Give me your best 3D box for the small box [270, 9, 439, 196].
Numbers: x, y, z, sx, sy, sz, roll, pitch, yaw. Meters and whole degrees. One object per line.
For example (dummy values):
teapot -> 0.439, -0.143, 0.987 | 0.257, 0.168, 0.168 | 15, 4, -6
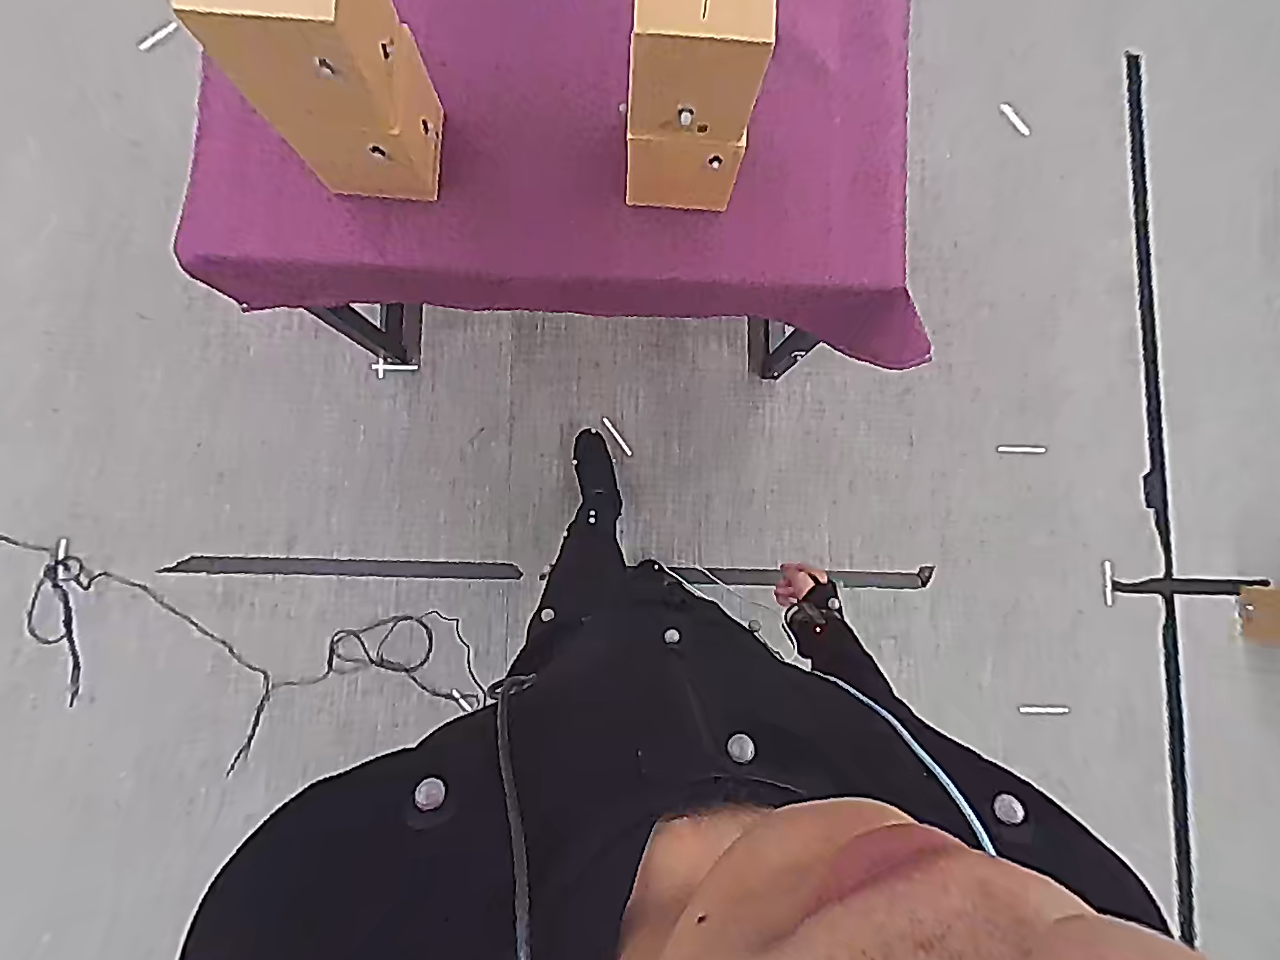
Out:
small box -> -0.425, -0.566, 0.834 | 0.179, 0.176, 0.168 | 3, 86, -3

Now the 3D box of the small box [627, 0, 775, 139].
small box -> 0.070, -0.584, 0.697 | 0.168, 0.176, 0.179 | 3, 87, -3

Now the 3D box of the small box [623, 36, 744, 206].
small box -> 0.063, -0.561, 0.860 | 0.179, 0.176, 0.168 | 2, 86, -3
